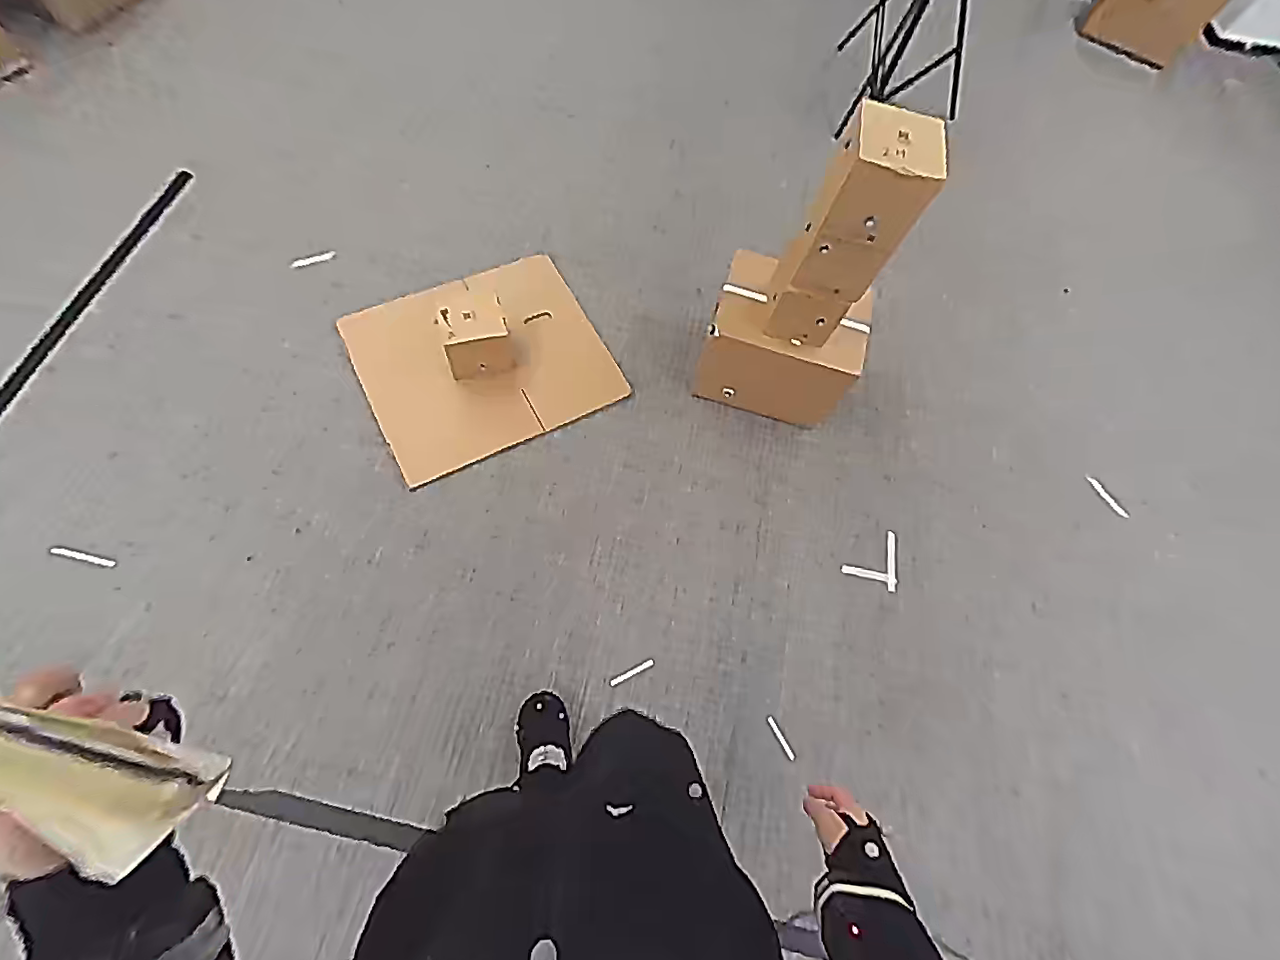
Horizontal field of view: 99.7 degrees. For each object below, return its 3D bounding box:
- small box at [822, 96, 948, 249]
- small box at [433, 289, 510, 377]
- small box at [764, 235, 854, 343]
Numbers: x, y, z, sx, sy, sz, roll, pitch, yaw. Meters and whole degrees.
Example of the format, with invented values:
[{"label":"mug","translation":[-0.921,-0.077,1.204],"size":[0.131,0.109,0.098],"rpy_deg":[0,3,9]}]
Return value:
[{"label":"small box","translation":[0.469,-0.592,1.054],"size":[0.168,0.176,0.179],"rpy_deg":[13,67,-2]},{"label":"small box","translation":[-0.474,-0.417,1.544],"size":[0.179,0.176,0.168],"rpy_deg":[-14,70,-15]},{"label":"small box","translation":[0.419,-0.472,1.356],"size":[0.168,0.176,0.179],"rpy_deg":[12,67,-4]}]
